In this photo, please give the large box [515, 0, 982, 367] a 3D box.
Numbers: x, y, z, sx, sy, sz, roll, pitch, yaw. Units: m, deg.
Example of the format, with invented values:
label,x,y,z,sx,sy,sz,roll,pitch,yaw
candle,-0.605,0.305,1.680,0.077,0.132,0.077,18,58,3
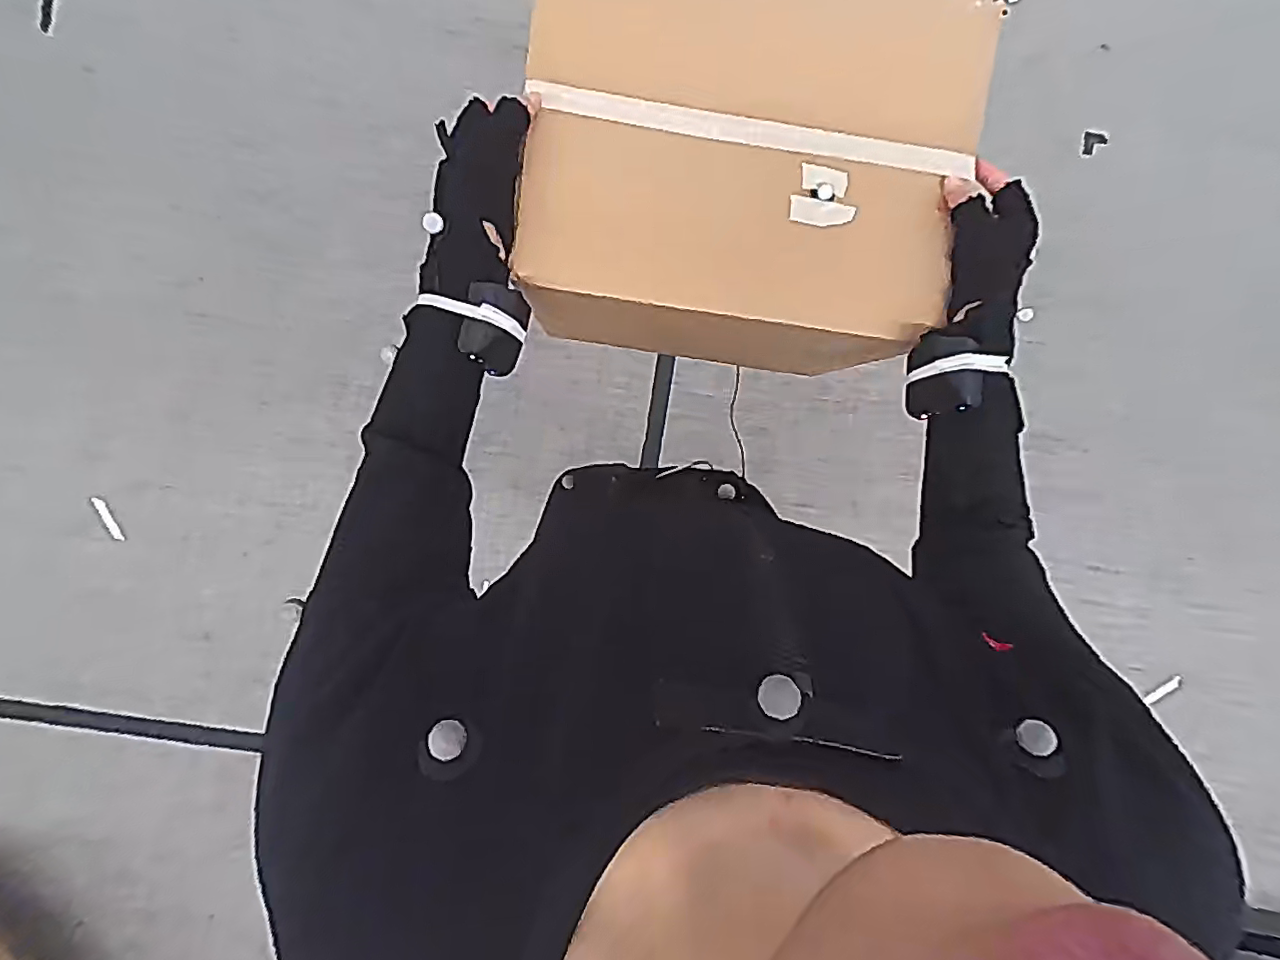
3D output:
label,x,y,z,sx,sy,sz,roll,pitch,yaw
large box,0.088,-0.326,0.639,0.408,0.320,0.320,7,97,-5
